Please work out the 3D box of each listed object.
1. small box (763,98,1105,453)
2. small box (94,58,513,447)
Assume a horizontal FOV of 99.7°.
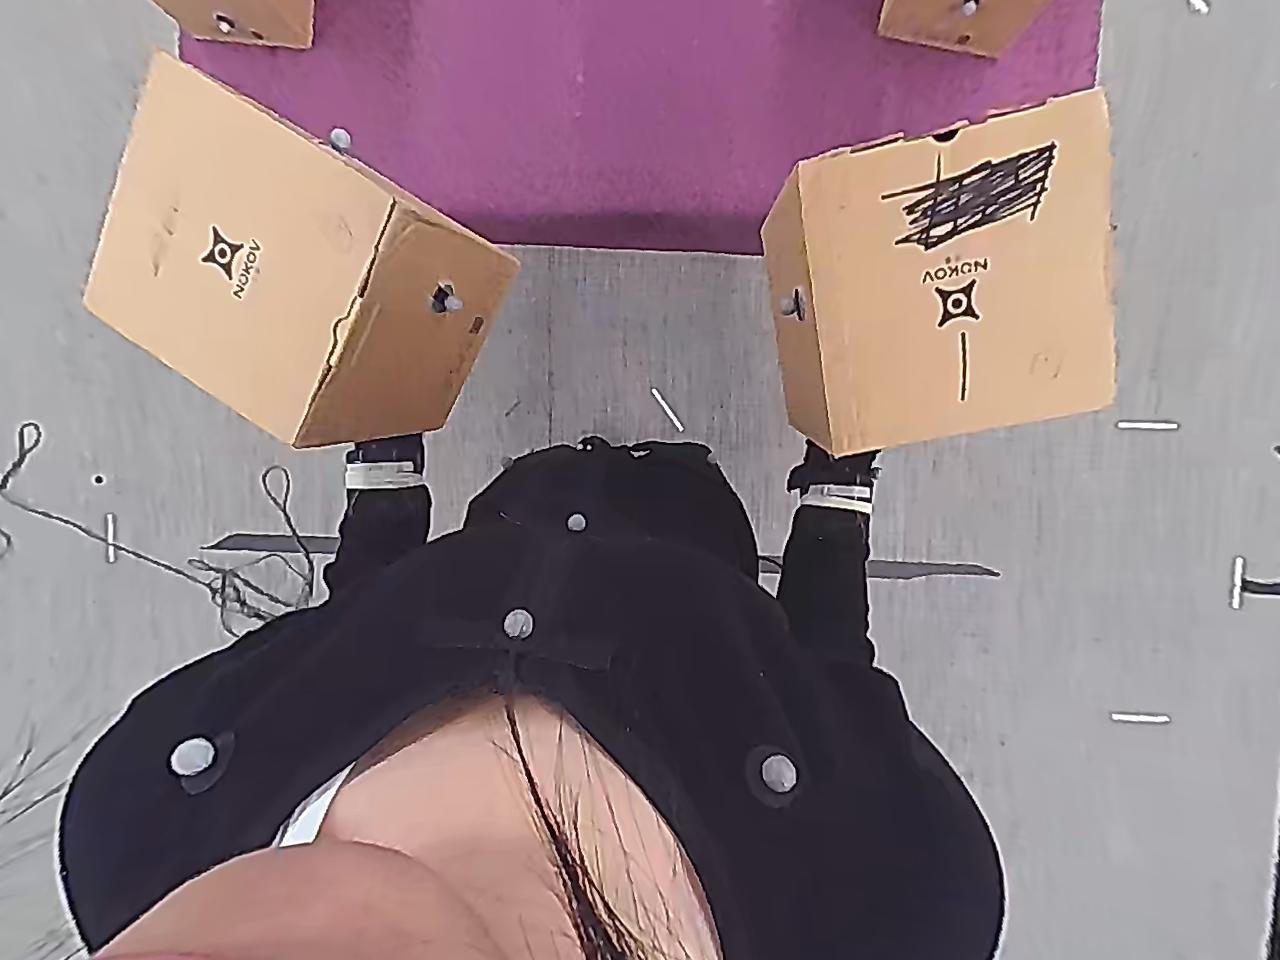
[{"bbox_3d":[0.192,-0.131,0.398,0.168,0.176,0.179,-10,103,8],"label":"small box"},{"bbox_3d":[-0.225,-0.146,0.402,0.179,0.176,0.168,33,103,5],"label":"small box"}]
